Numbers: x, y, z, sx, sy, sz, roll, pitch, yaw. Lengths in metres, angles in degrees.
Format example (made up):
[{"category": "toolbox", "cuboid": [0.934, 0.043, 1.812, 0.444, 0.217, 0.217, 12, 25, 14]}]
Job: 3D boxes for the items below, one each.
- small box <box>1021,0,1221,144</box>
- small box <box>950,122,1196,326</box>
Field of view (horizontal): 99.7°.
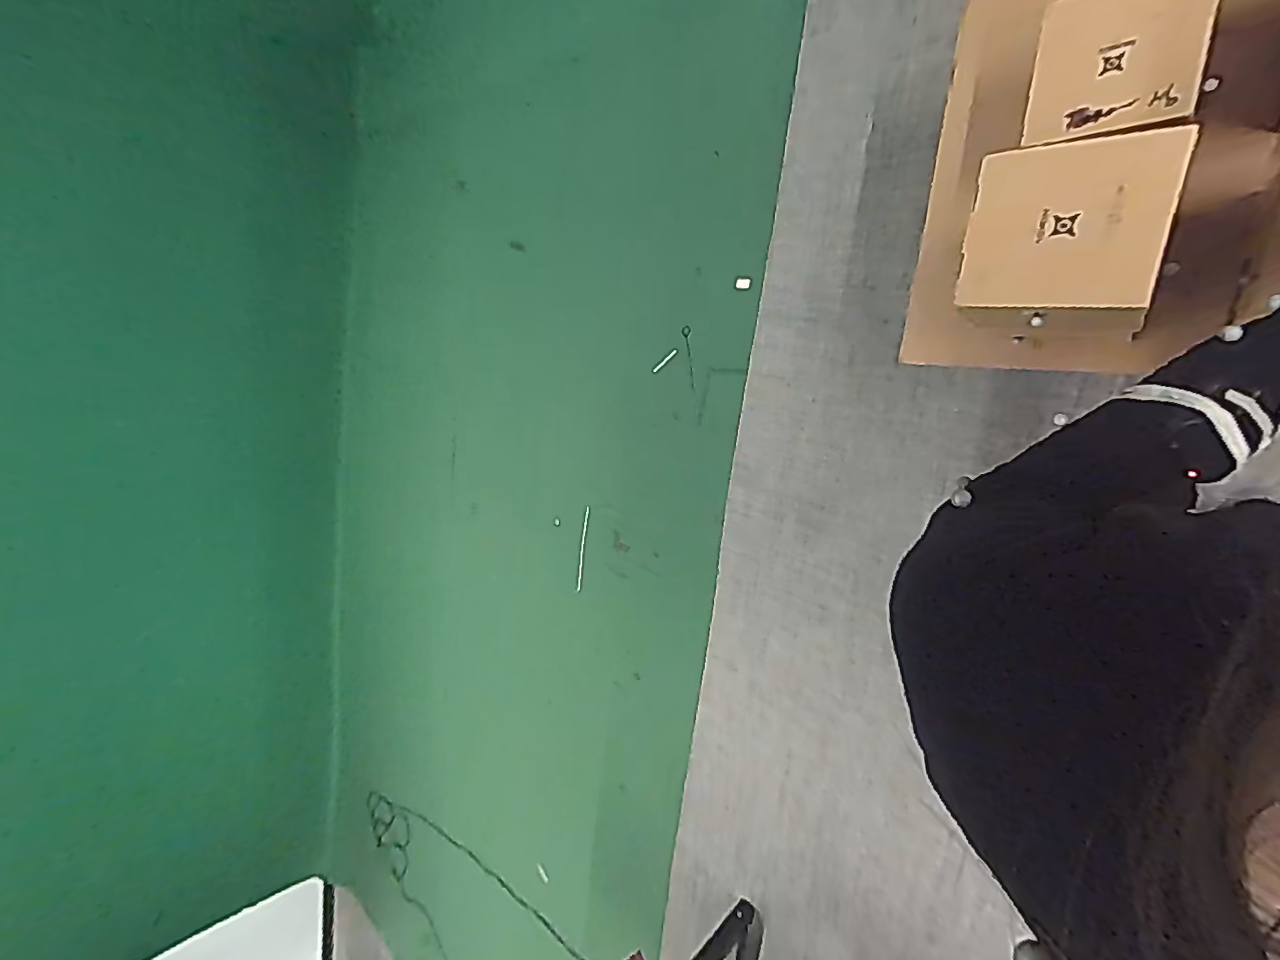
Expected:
[{"category": "small box", "cuboid": [0.629, -0.519, 0.712, 0.168, 0.176, 0.179, 13, 100, 42]}, {"category": "small box", "cuboid": [0.494, -0.277, 0.629, 0.179, 0.176, 0.168, 17, 105, 39]}]
